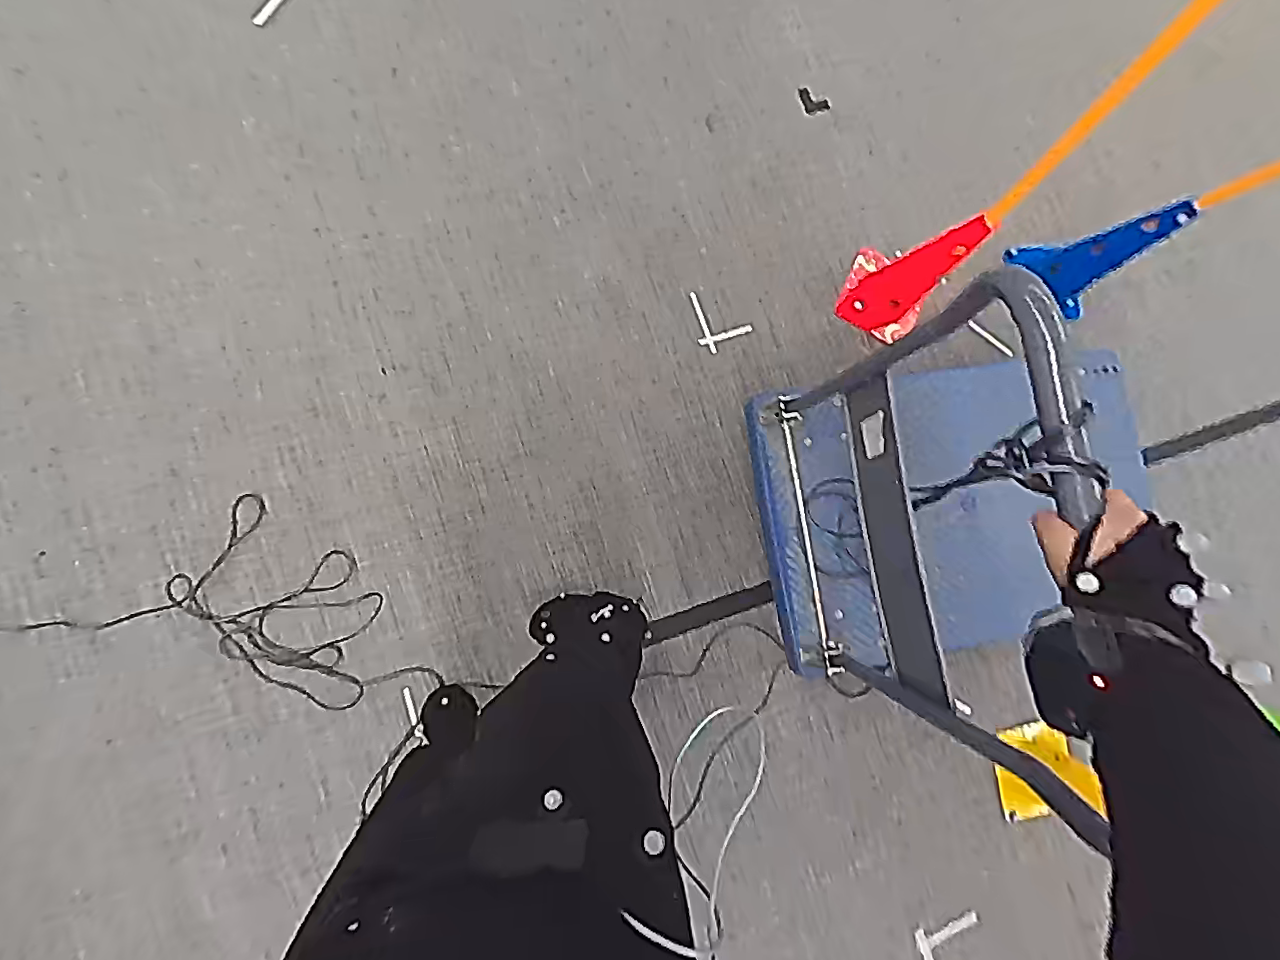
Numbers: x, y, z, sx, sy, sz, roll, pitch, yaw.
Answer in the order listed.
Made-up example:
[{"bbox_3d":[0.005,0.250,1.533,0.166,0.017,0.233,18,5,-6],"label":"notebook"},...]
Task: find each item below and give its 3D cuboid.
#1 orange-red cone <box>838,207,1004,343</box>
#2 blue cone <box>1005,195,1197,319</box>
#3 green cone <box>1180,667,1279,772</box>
[{"bbox_3d":[0.627,-0.470,1.162,0.199,0.360,0.198,28,82,-6],"label":"orange-red cone"},{"bbox_3d":[1.061,-0.526,1.239,0.192,0.380,0.193,-3,85,-7],"label":"blue cone"},{"bbox_3d":[1.473,0.579,1.173,0.202,0.368,0.200,-32,89,-8],"label":"green cone"}]
